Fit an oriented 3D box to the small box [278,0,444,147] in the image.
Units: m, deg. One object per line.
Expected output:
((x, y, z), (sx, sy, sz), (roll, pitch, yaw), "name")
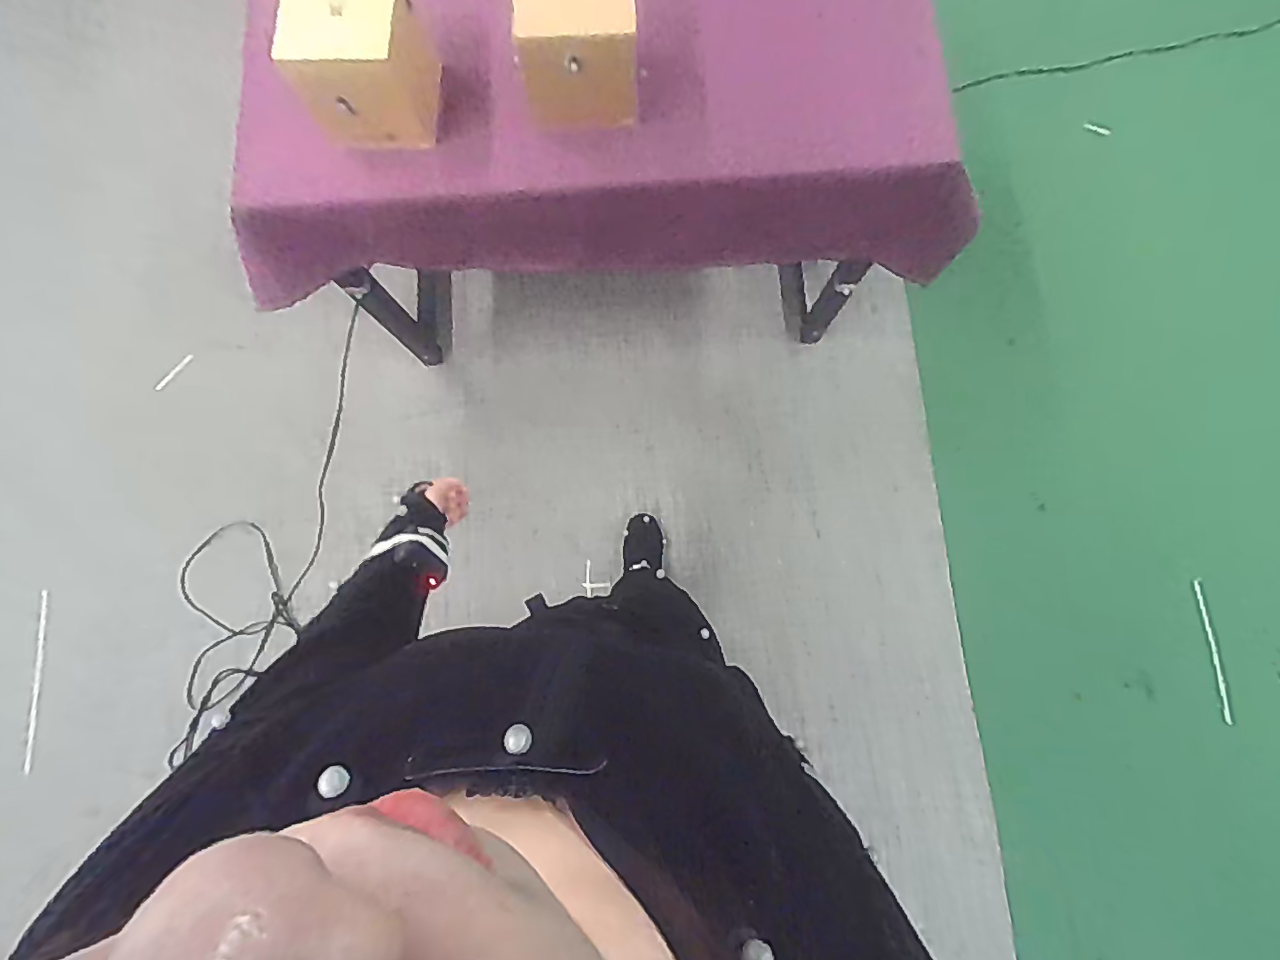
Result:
((-0.420, -0.654, 0.845), (0.168, 0.176, 0.179), (1, 79, 2), "small box")

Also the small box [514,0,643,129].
((-0.086, -0.680, 0.840), (0.179, 0.176, 0.168), (-1, 80, 1), "small box")
